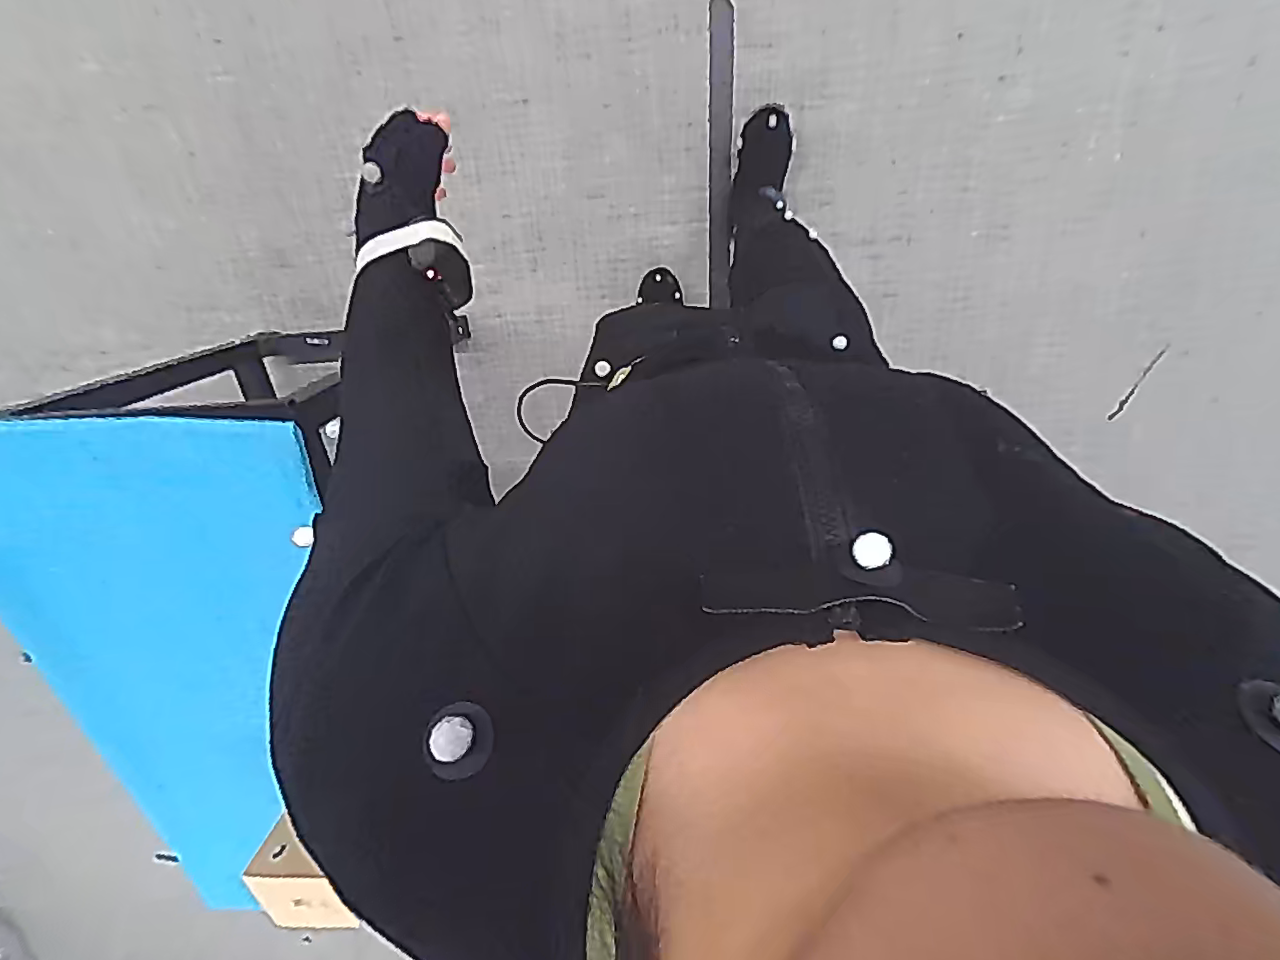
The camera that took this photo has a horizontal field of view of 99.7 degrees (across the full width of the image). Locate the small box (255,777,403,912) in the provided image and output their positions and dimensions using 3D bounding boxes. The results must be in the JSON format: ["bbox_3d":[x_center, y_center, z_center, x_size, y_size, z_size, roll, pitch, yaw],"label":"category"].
[{"bbox_3d":[-0.608,0.721,1.081,0.179,0.176,0.168,-1,118,3],"label":"small box"}]
